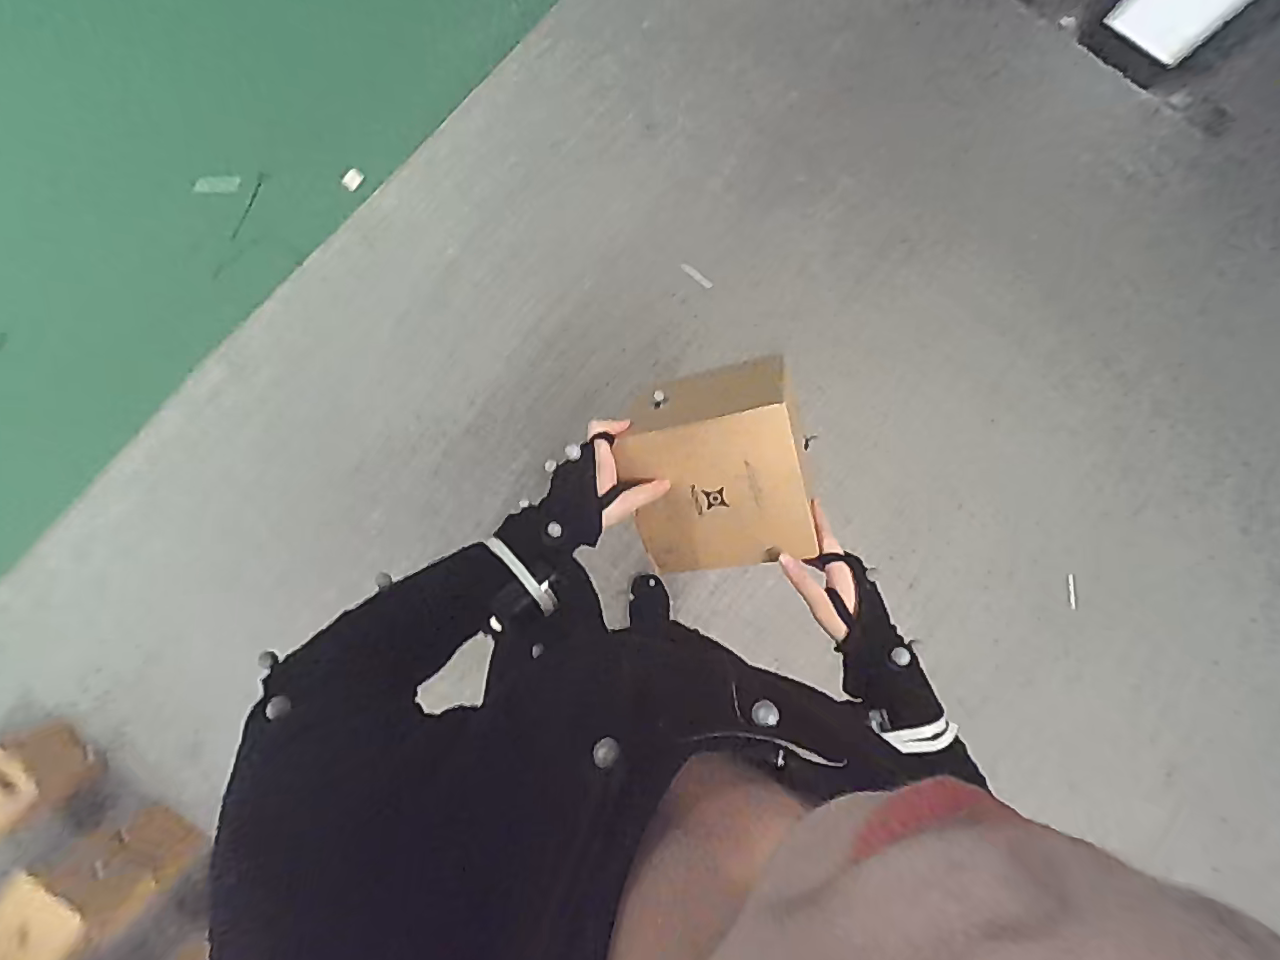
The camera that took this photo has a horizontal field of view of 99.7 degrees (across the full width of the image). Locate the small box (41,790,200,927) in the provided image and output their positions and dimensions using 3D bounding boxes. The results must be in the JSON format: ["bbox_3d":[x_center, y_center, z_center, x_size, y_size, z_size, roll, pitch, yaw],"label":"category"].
[{"bbox_3d":[-1.218,0.883,1.285,0.179,0.176,0.168,38,83,2],"label":"small box"}]

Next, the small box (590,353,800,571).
[{"bbox_3d":[0.074,-0.022,0.595,0.179,0.176,0.168,-10,117,21],"label":"small box"}]
